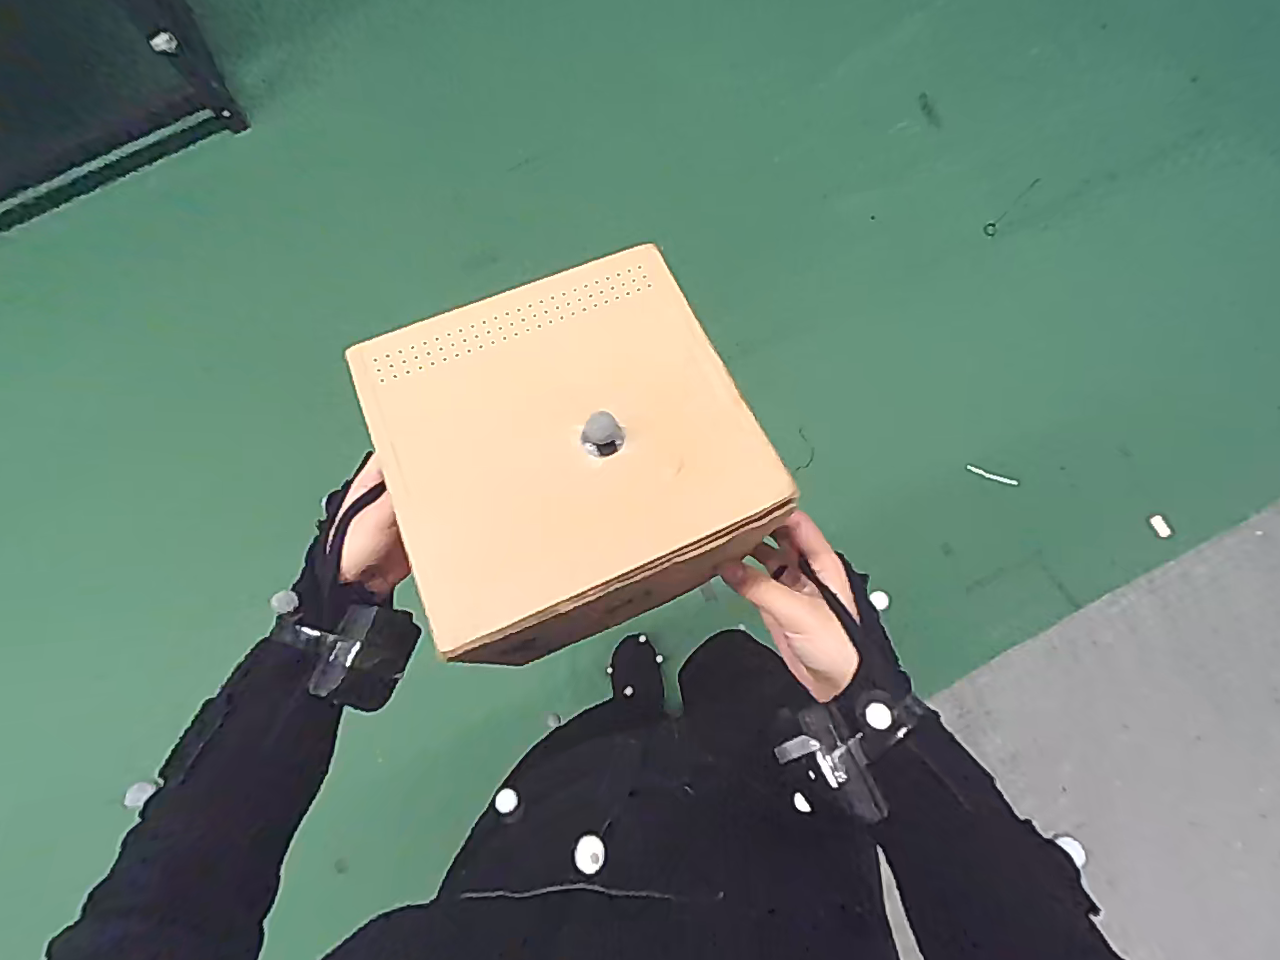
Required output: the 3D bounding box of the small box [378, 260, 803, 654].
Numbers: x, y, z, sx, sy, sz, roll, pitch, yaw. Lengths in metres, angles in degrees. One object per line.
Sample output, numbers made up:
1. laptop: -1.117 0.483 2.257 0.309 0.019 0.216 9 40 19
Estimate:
1. small box: -0.033 -0.007 0.349 0.179 0.168 0.176 -24 71 -9
